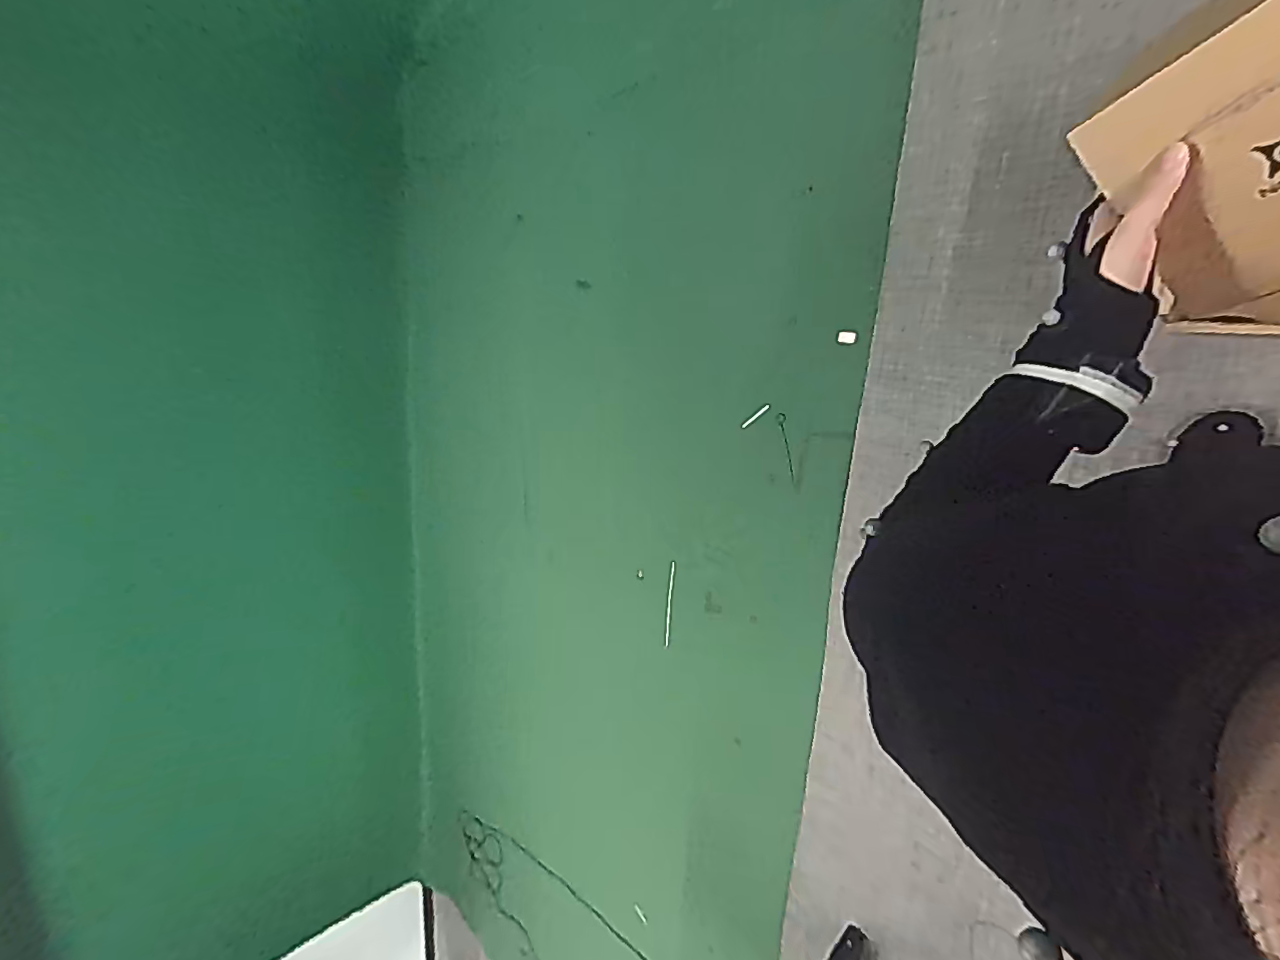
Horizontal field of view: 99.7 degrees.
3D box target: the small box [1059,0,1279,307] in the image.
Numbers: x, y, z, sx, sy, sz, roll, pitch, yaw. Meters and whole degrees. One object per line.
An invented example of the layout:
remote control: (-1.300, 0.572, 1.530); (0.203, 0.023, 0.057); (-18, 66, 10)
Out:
small box: (0.438, -0.256, 0.353); (0.179, 0.176, 0.168); (47, 161, -9)
